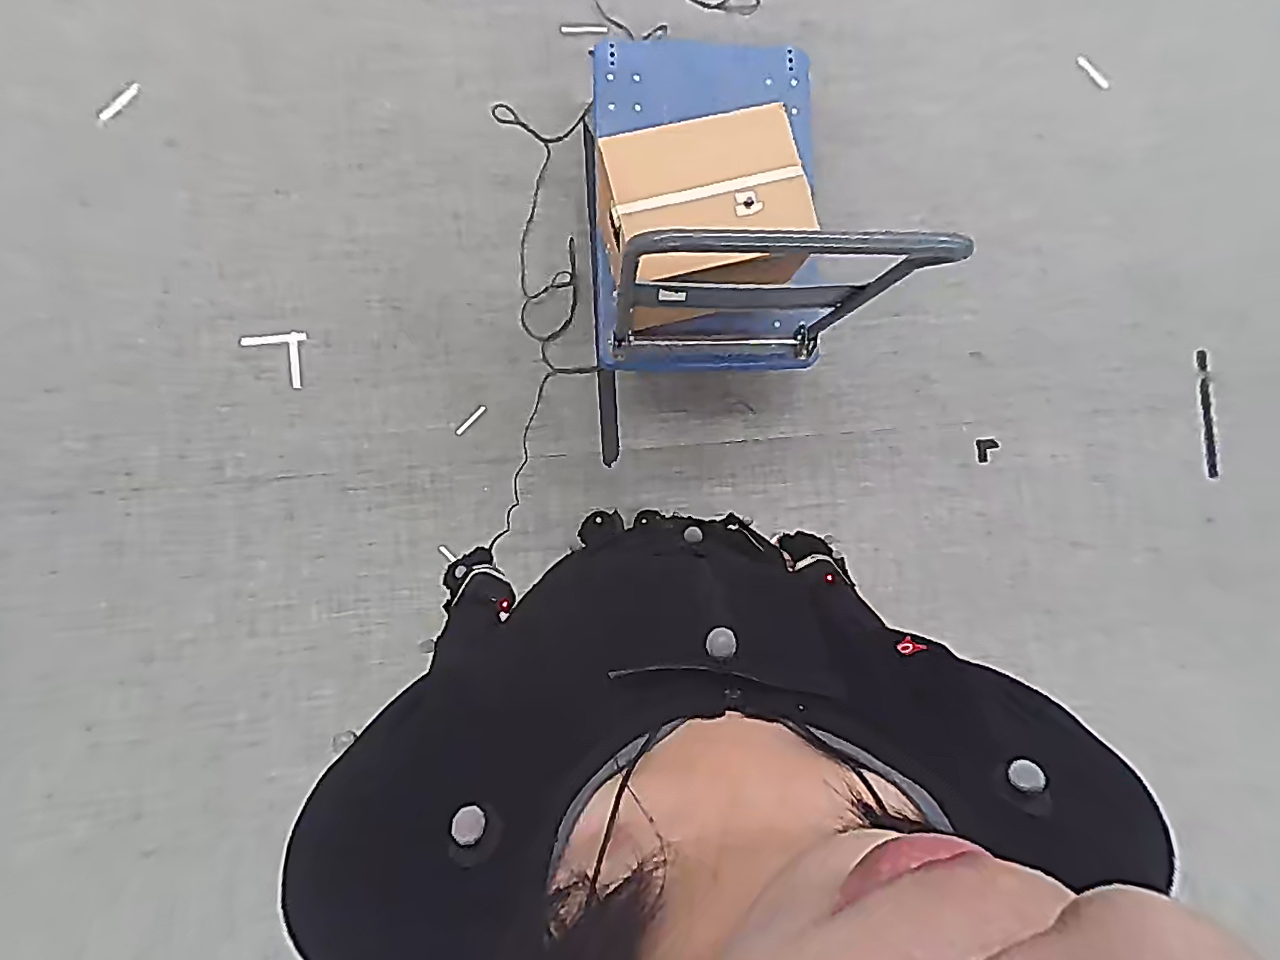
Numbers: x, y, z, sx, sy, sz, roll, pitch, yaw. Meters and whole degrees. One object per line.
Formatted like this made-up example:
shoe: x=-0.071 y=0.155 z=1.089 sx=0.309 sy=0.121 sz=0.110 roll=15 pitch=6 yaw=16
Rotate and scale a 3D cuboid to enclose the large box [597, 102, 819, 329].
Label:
large box: x=0.132 y=-0.589 z=1.261 sx=0.408 sy=0.320 sz=0.320 roll=-15 pitch=89 yaw=-6
